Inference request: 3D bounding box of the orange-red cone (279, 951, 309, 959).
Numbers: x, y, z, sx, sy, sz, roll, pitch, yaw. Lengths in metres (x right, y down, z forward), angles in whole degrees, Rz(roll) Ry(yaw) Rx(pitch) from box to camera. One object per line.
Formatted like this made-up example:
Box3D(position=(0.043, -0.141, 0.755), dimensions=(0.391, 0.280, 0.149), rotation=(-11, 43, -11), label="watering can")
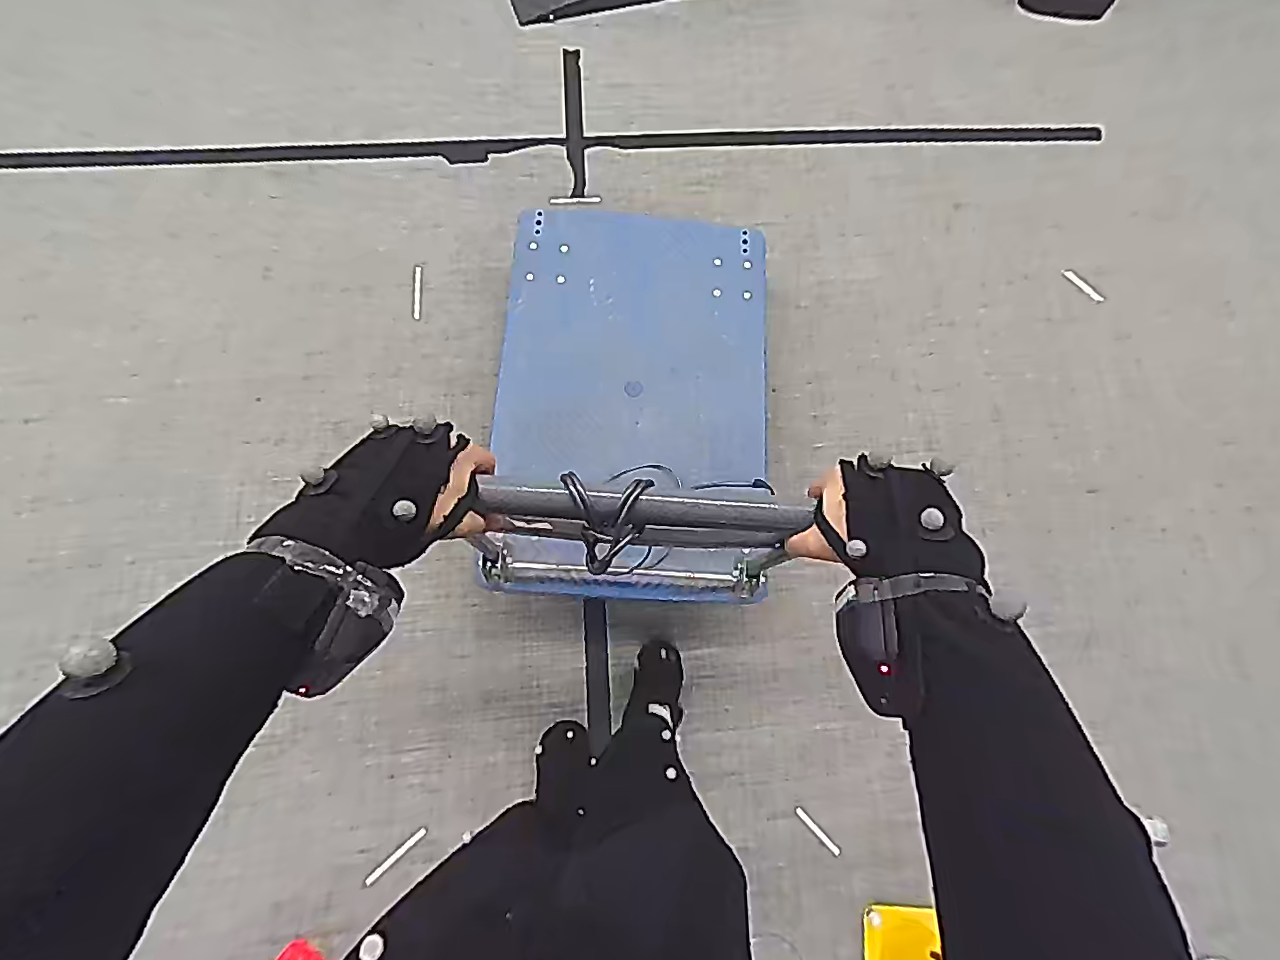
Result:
Box3D(position=(-0.628, 0.958, 0.817), dimensions=(0.198, 0.360, 0.199), rotation=(41, 75, 6), label="orange-red cone")
